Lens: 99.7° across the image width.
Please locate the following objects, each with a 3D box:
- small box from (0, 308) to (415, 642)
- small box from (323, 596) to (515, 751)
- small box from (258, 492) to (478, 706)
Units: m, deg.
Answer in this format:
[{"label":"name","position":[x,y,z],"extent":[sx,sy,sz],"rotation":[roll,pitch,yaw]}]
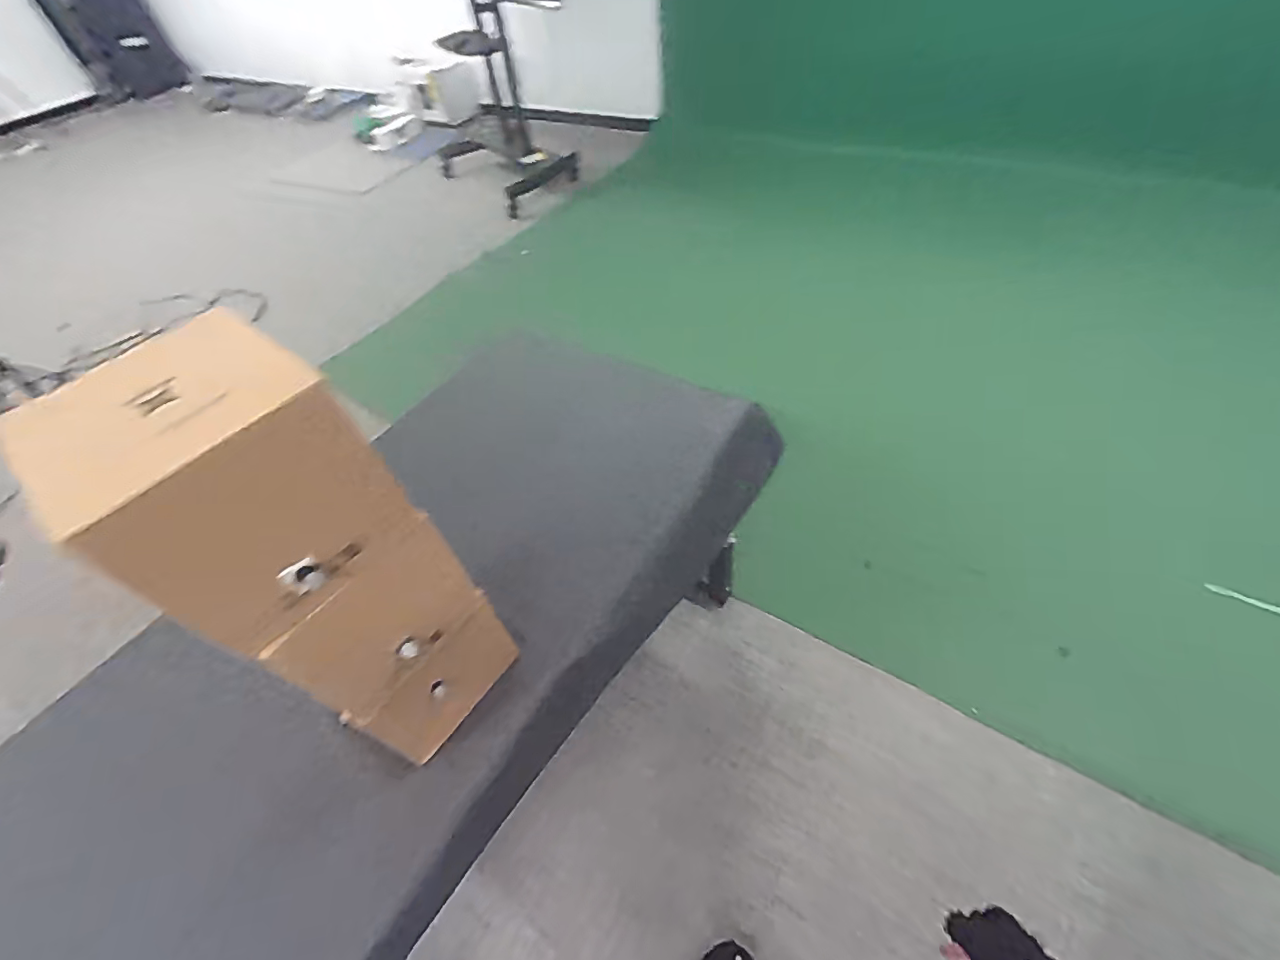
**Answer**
[{"label":"small box","position":[-0.322,-0.002,0.431],"extent":[0.179,0.176,0.168],"rotation":[30,61,28]},{"label":"small box","position":[-0.287,0.205,0.680],"extent":[0.168,0.176,0.179],"rotation":[26,59,27]},{"label":"small box","position":[-0.303,0.100,0.555],"extent":[0.179,0.176,0.168],"rotation":[23,57,27]}]
